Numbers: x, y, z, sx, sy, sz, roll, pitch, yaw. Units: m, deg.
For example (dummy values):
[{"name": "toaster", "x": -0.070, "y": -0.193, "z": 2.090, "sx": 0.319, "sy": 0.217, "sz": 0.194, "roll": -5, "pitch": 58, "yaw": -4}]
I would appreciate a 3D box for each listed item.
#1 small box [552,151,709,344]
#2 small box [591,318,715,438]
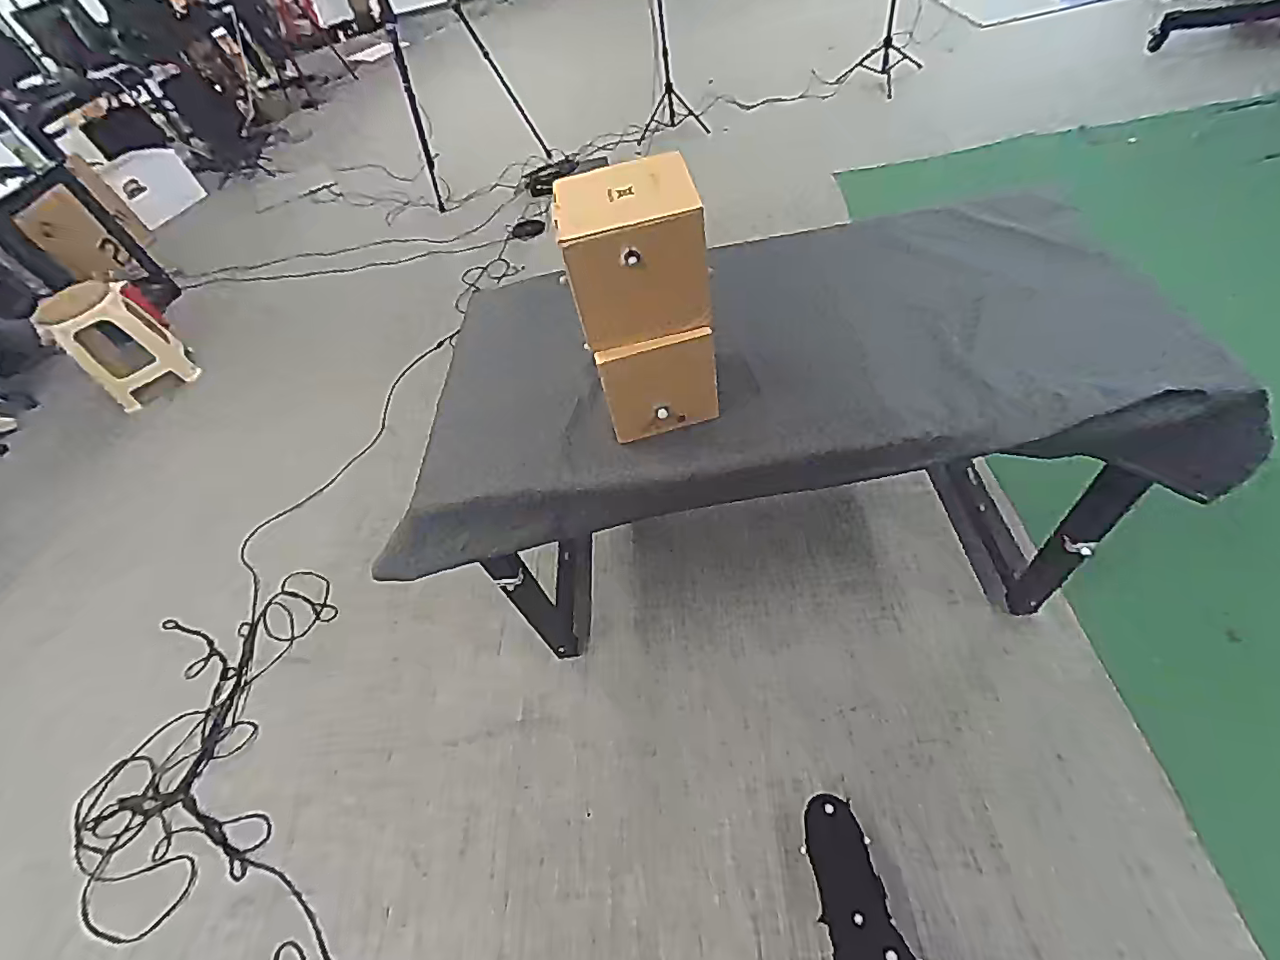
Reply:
[{"name": "small box", "x": -0.010, "y": -0.307, "z": 0.732, "sx": 0.179, "sy": 0.176, "sz": 0.168, "roll": -12, "pitch": 52, "yaw": 2}, {"name": "small box", "x": 0.014, "y": -0.196, "z": 0.849, "sx": 0.168, "sy": 0.176, "sz": 0.179, "roll": -15, "pitch": 51, "yaw": 0}]
